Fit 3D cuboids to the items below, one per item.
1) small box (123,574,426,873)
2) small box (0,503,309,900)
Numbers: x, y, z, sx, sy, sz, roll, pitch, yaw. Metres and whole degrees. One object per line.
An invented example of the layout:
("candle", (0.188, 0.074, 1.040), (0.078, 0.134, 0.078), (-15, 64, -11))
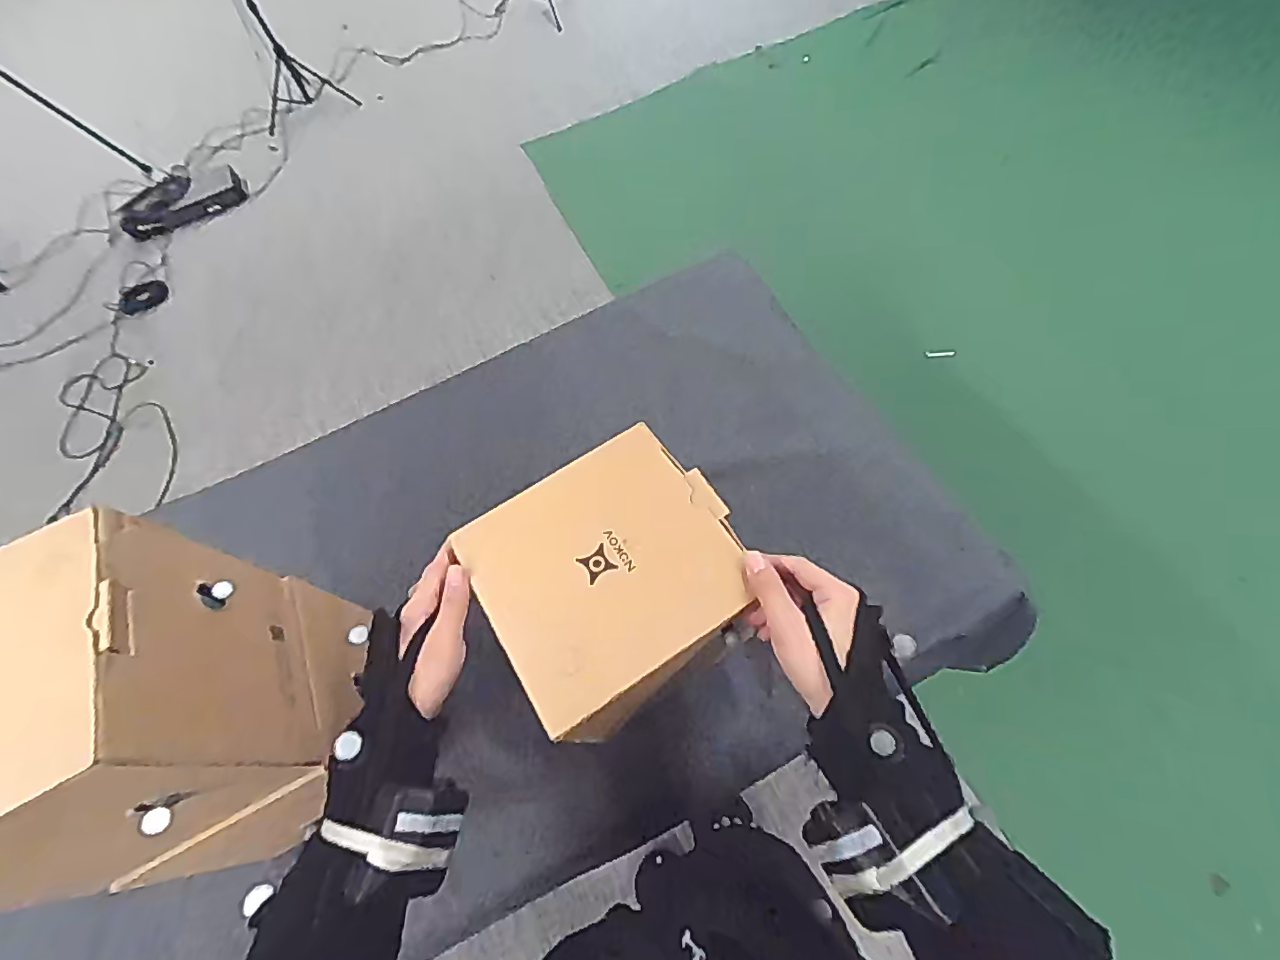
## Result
("small box", (-0.331, 0.221, 0.507), (0.168, 0.176, 0.179), (-27, 63, -7))
("small box", (-0.356, 0.150, 0.363), (0.179, 0.176, 0.168), (-29, 61, -6))
